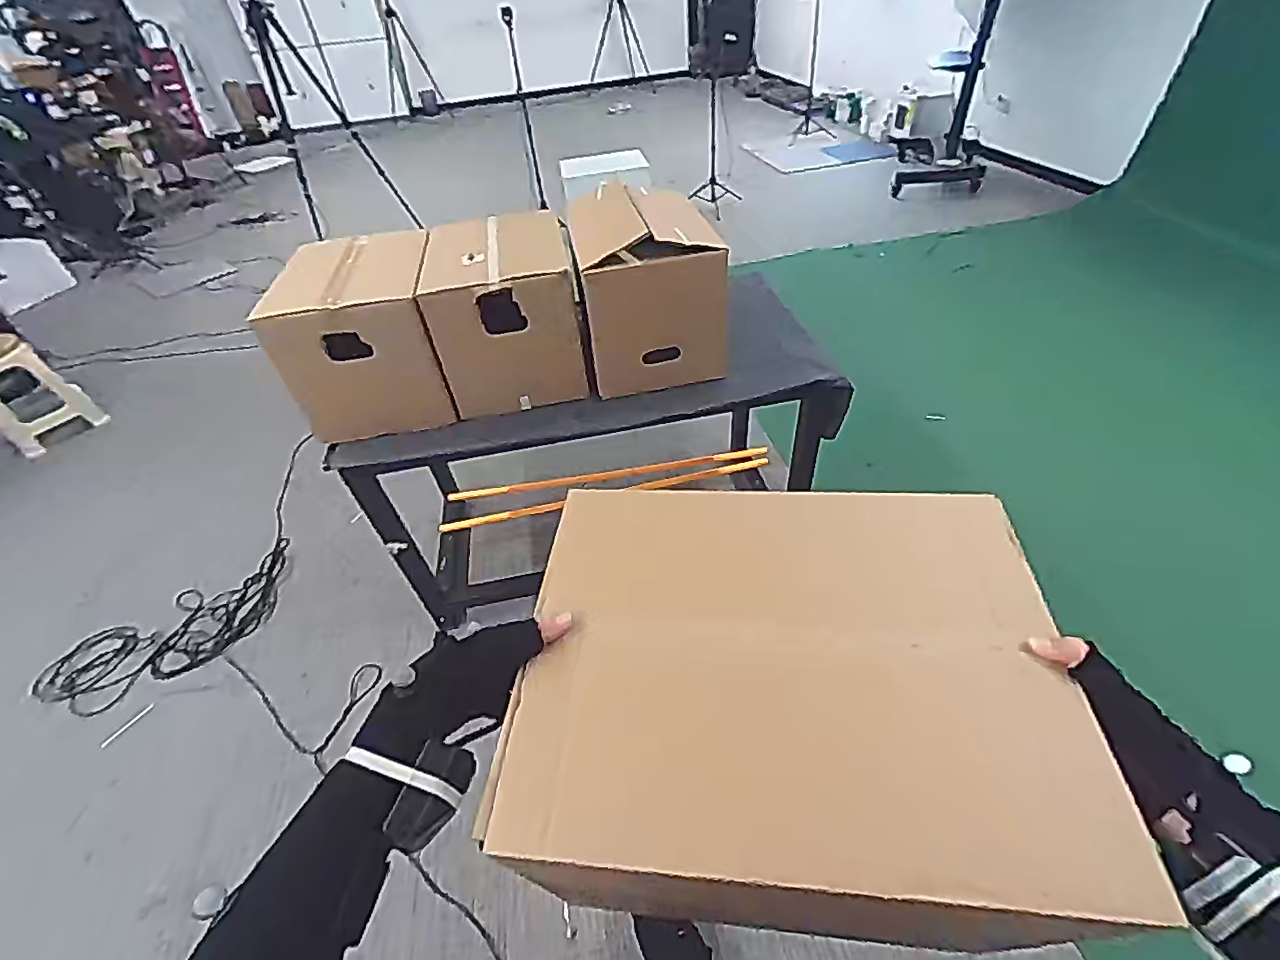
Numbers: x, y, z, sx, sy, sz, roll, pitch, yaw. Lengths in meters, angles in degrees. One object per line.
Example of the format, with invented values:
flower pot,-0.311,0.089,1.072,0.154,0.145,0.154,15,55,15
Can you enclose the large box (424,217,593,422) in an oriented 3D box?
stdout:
large box,-0.308,-0.400,1.321,0.320,0.320,0.408,-12,44,-5
